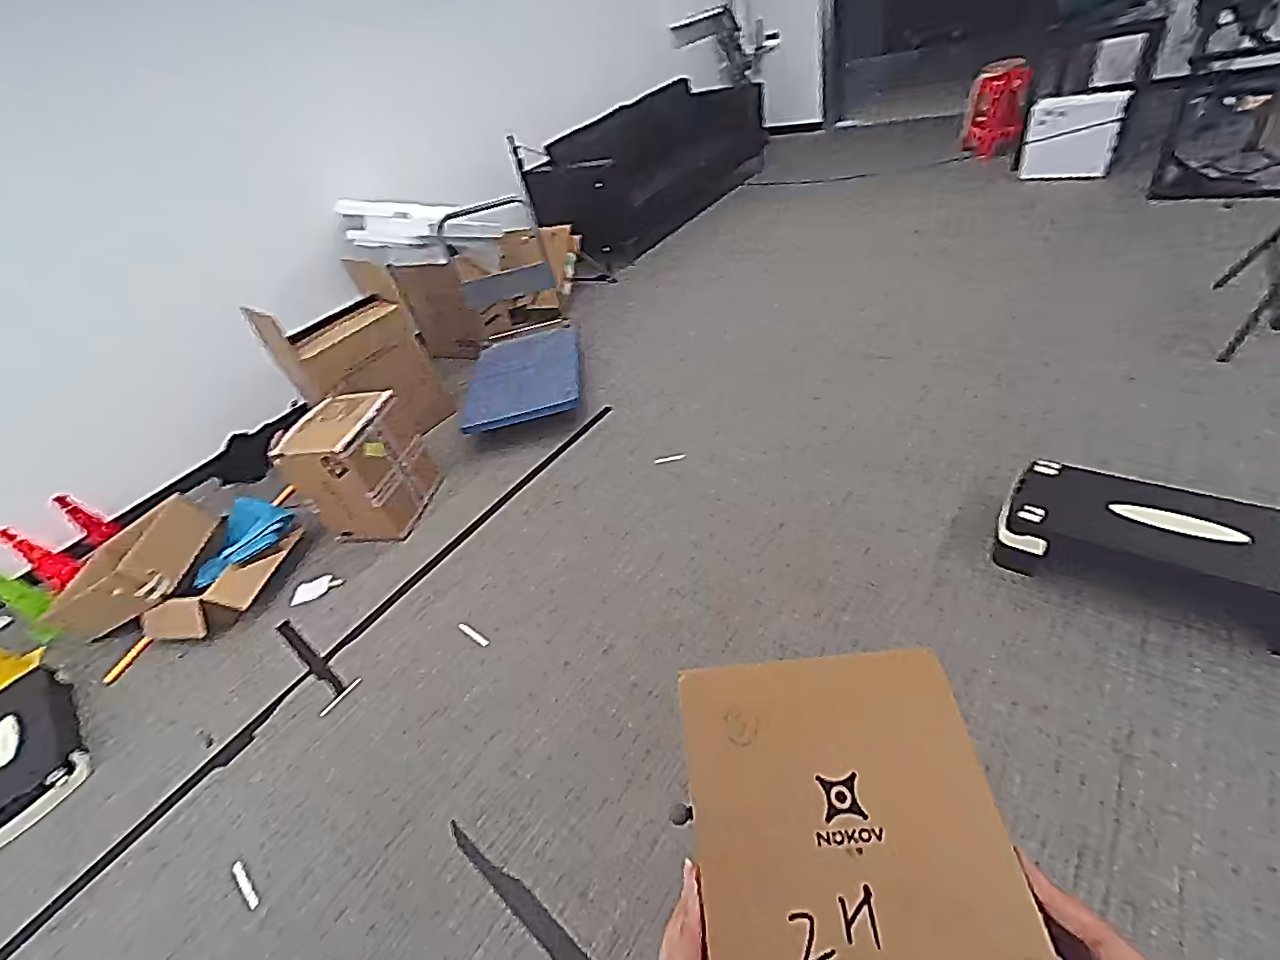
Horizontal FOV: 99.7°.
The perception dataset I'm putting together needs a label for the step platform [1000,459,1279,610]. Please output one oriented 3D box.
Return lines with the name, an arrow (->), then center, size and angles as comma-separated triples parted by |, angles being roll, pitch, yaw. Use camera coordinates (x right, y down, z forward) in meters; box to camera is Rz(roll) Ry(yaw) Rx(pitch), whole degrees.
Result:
step platform -> 1.346, 0.161, 1.383 | 0.684, 0.204, 0.286 | 18, 50, 36
